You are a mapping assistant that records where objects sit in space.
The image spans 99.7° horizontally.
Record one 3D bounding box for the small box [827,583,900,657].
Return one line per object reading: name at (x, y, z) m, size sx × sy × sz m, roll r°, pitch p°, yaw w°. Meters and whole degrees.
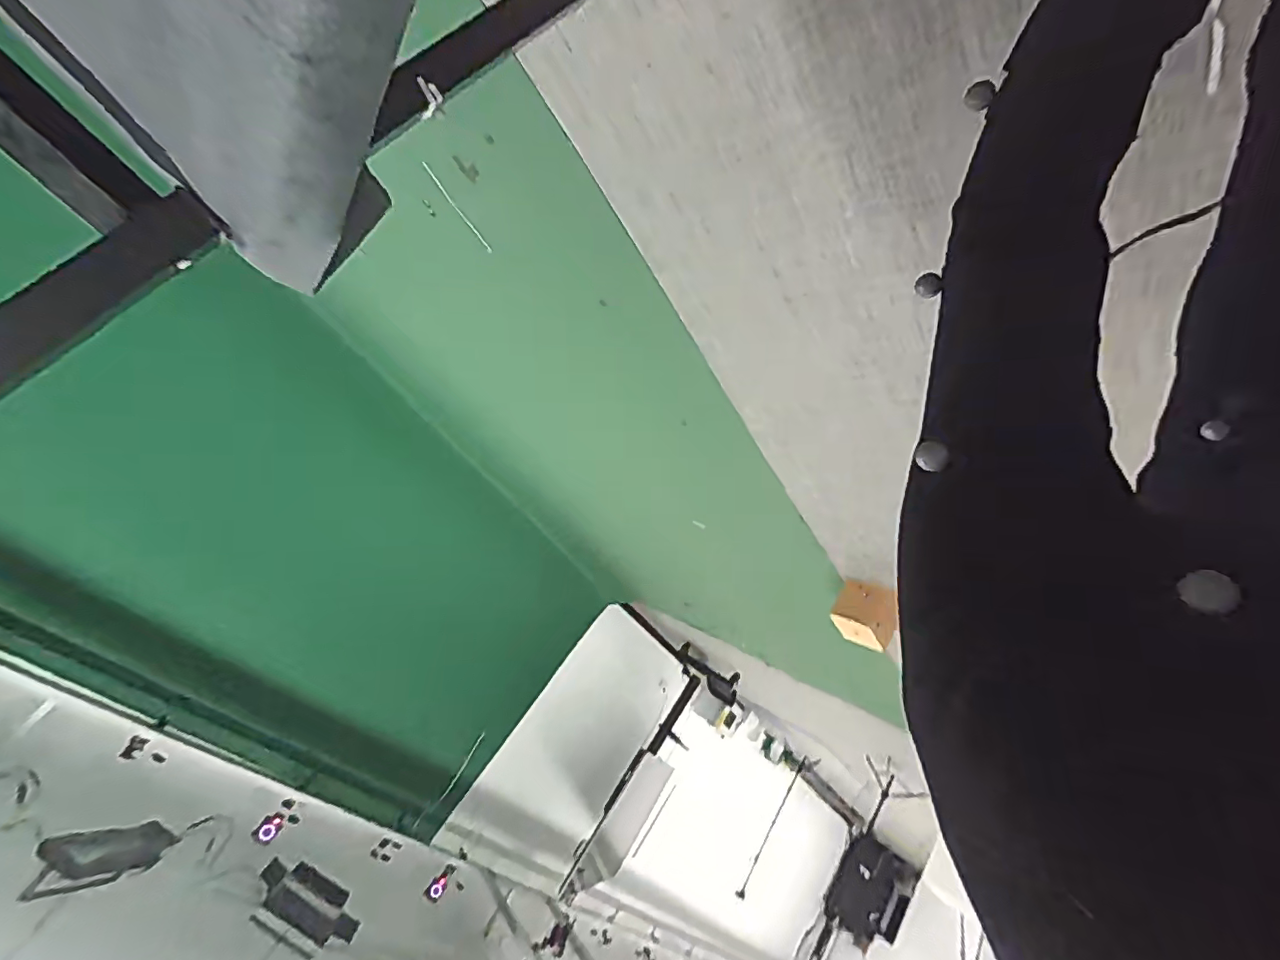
small box at (0.824, 0.509, 1.984) m, size 0.168 × 0.176 × 0.179 m, roll 10°, pitch 144°, yaw 52°
